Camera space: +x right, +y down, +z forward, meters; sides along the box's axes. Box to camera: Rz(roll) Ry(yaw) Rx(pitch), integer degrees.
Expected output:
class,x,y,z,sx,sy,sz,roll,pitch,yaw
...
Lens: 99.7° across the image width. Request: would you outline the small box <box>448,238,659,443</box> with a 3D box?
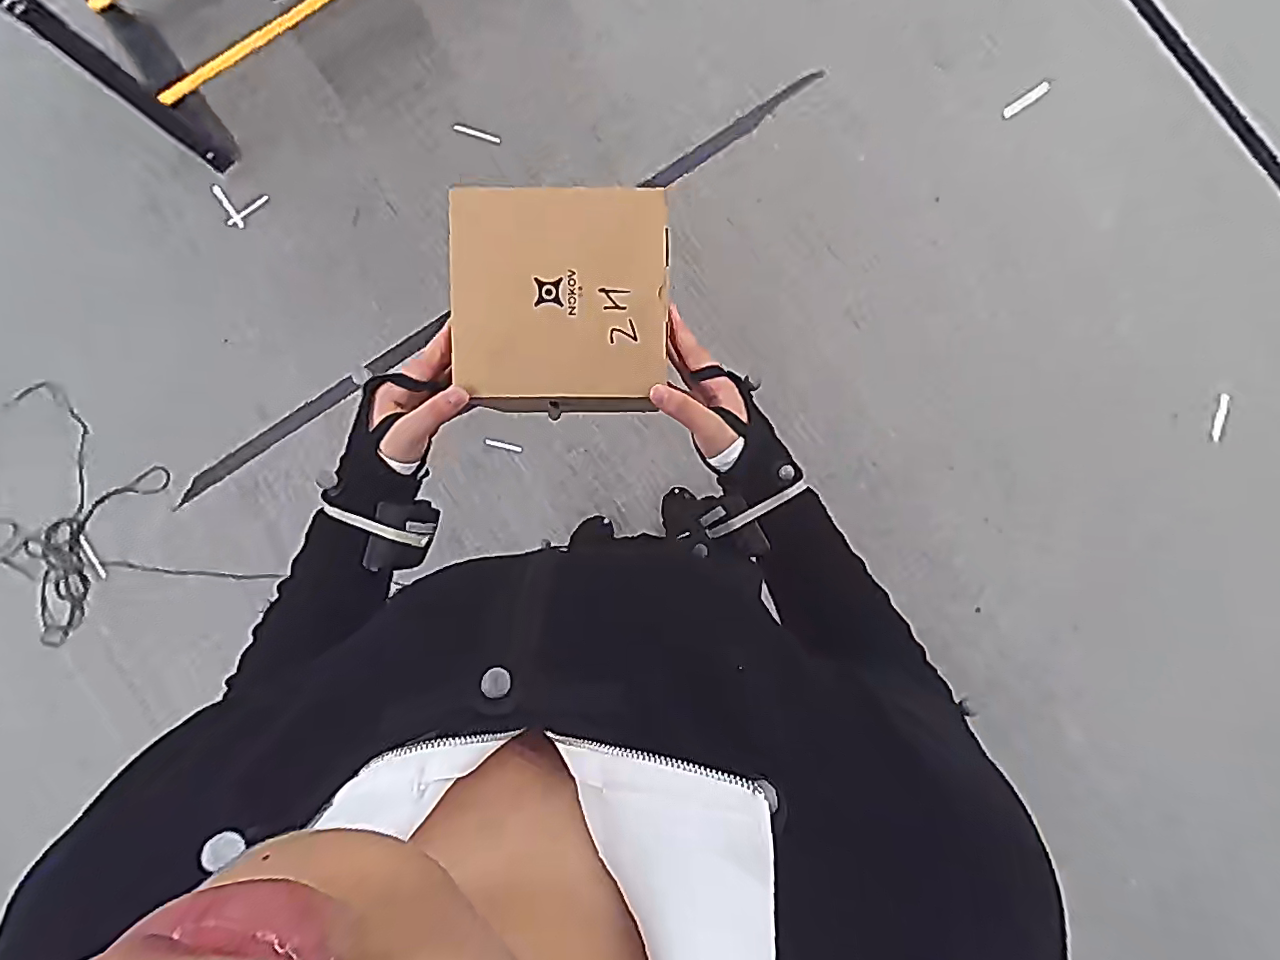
class,x,y,z,sx,sy,sz,roll,pitch,yaw
small box,-0.071,-0.120,0.527,0.179,0.176,0.168,0,94,0
